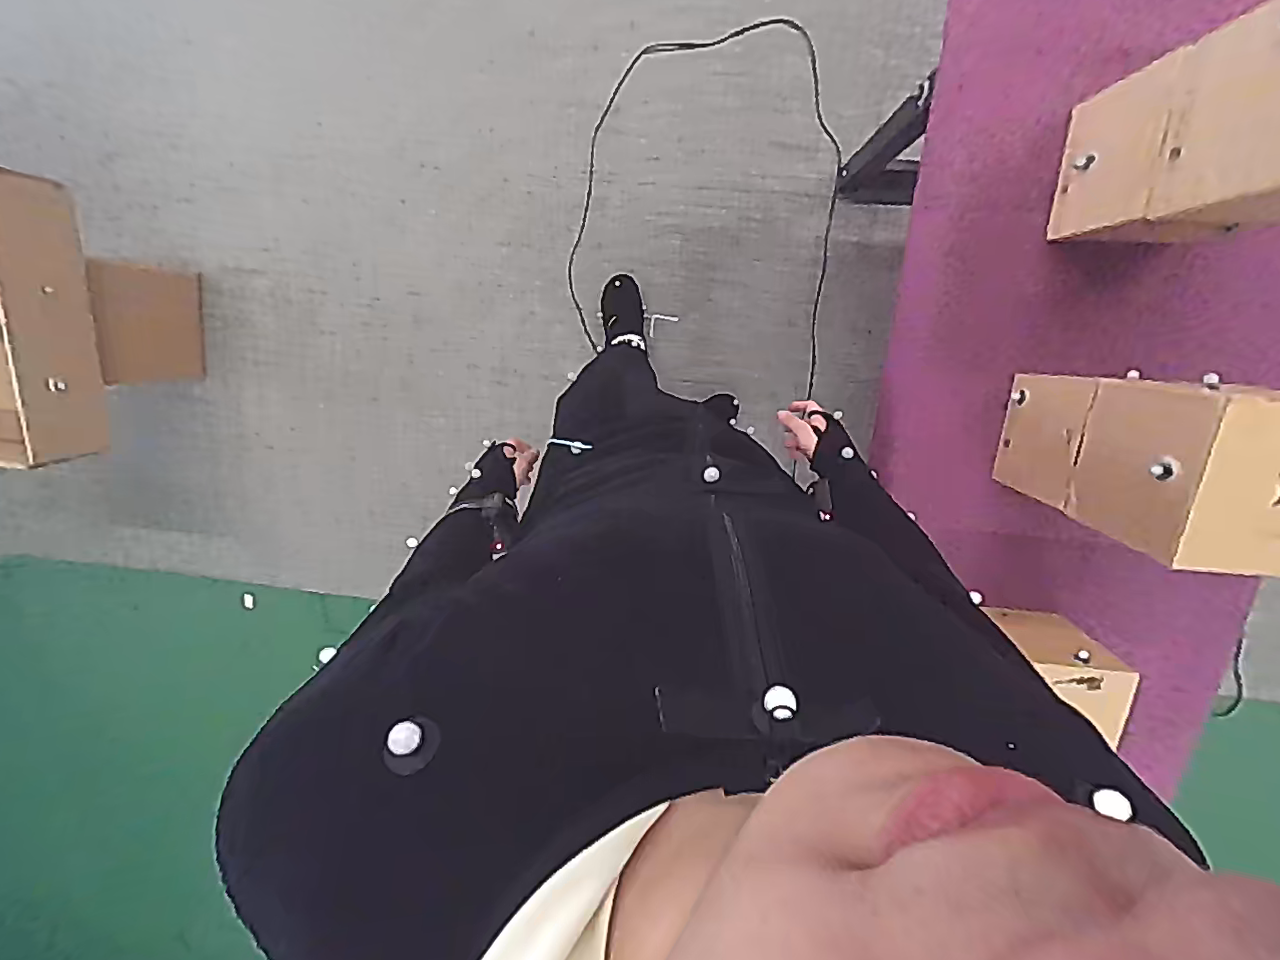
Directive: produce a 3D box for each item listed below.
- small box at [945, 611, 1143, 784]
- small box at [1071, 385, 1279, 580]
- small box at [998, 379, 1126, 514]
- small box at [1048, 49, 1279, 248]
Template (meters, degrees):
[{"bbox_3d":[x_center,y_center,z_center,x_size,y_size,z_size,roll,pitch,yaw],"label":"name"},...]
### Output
[{"bbox_3d":[0.608,0.329,0.843,0.168,0.176,0.179,5,105,3],"label":"small box"},{"bbox_3d":[0.619,-0.007,0.585,0.168,0.176,0.179,5,105,5],"label":"small box"},{"bbox_3d":[0.636,-0.048,0.742,0.179,0.176,0.168,4,105,3],"label":"small box"},{"bbox_3d":[0.651,-0.382,0.652,0.179,0.176,0.168,3,105,4],"label":"small box"}]
